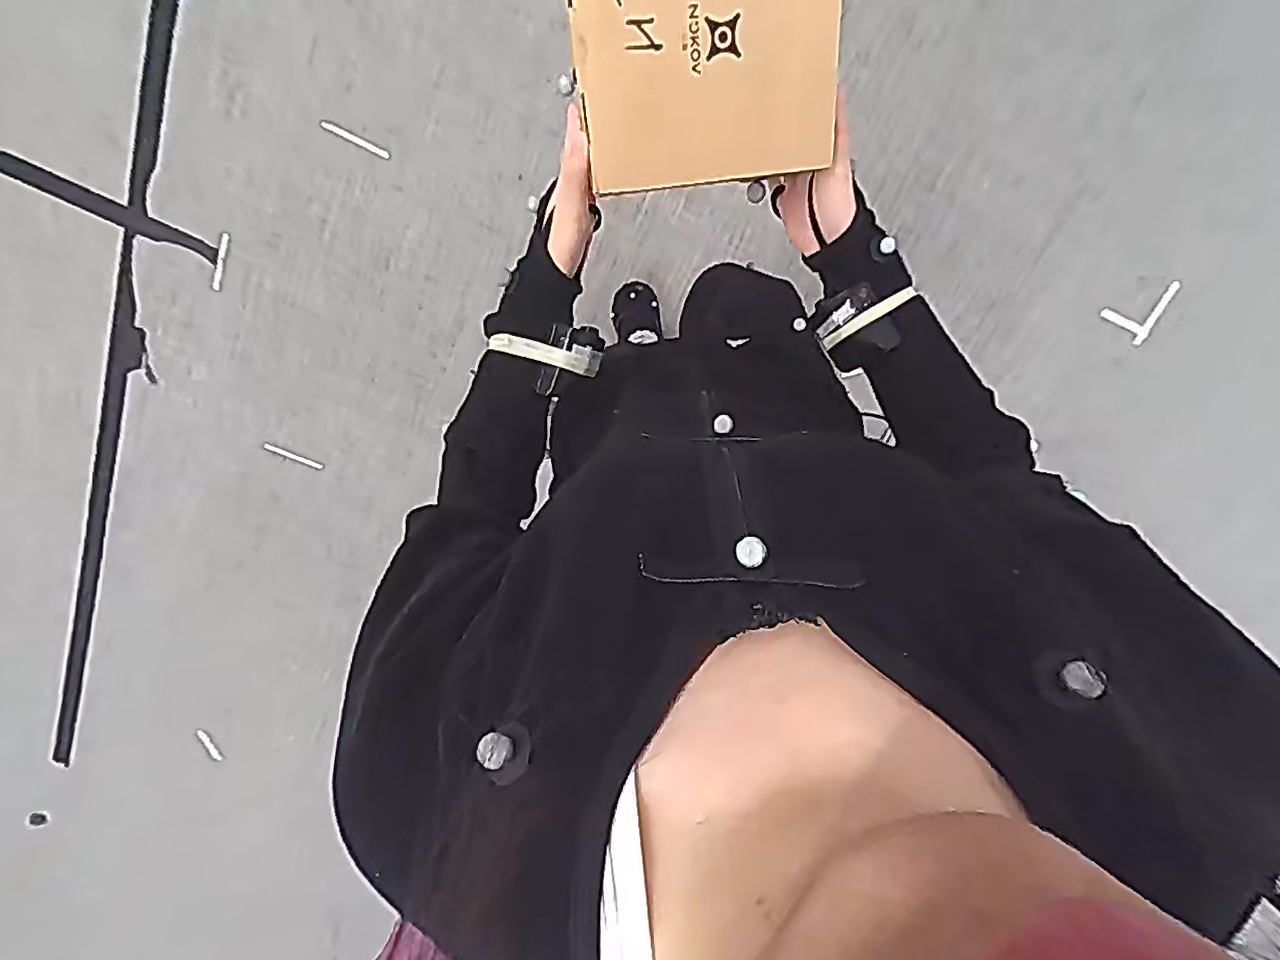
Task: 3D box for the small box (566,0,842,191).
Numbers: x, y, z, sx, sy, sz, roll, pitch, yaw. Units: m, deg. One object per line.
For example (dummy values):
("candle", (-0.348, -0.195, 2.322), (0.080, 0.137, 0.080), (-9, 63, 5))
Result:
("small box", (0.037, -0.324, 0.418), (0.179, 0.176, 0.168), (-7, 118, -2))
